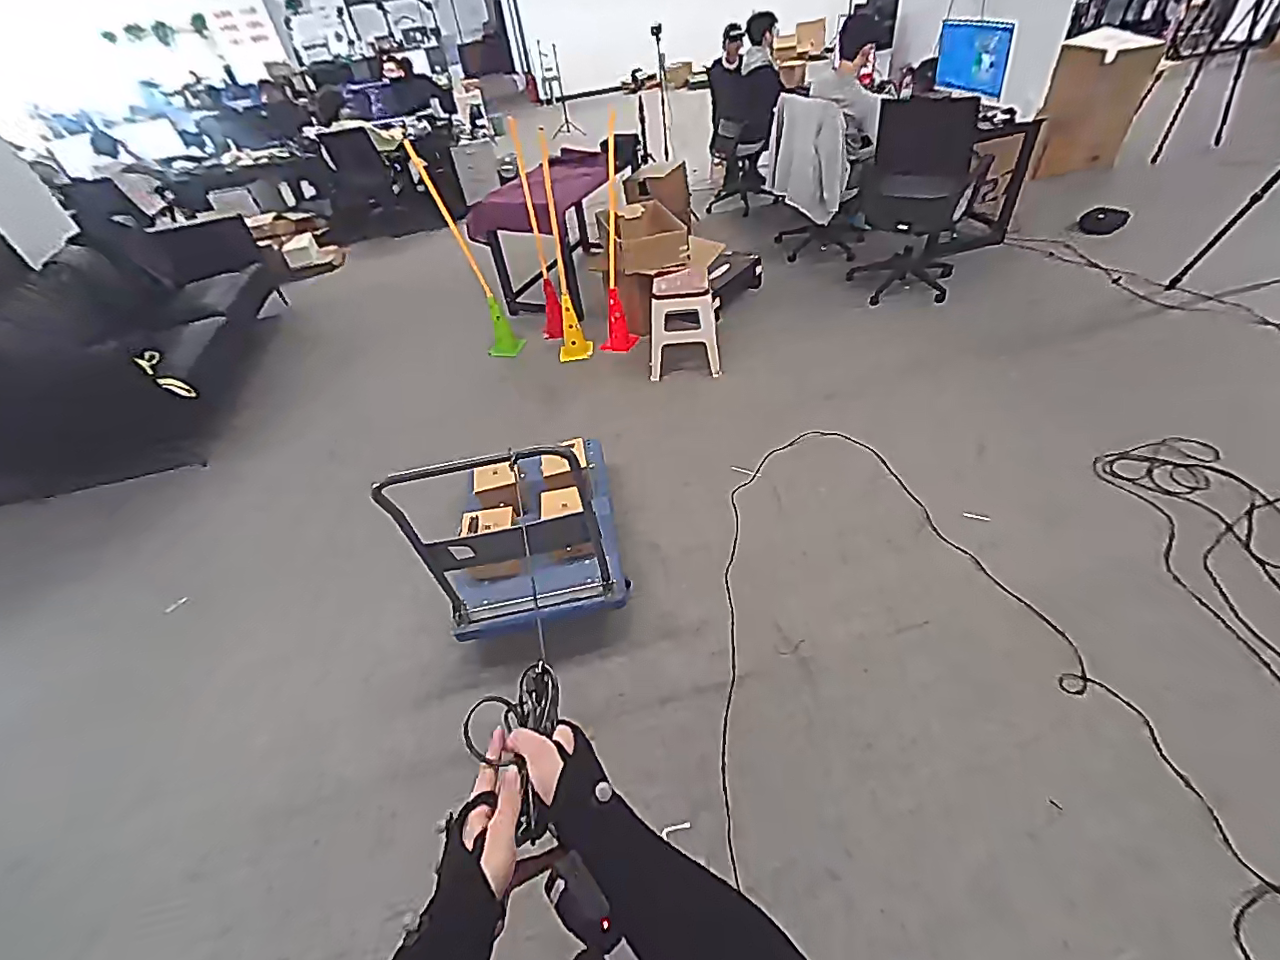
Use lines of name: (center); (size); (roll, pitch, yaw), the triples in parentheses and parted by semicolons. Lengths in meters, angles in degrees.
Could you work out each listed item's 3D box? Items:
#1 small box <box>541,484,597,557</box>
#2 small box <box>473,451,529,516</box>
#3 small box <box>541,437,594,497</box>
small box: (-0.248, 0.142, 1.892); (0.168, 0.176, 0.179); (-10, 45, -1)
small box: (-0.529, 0.020, 2.067); (0.168, 0.176, 0.179); (-13, 44, -5)
small box: (-0.279, -0.037, 2.080); (0.168, 0.176, 0.179); (-13, 44, -2)
